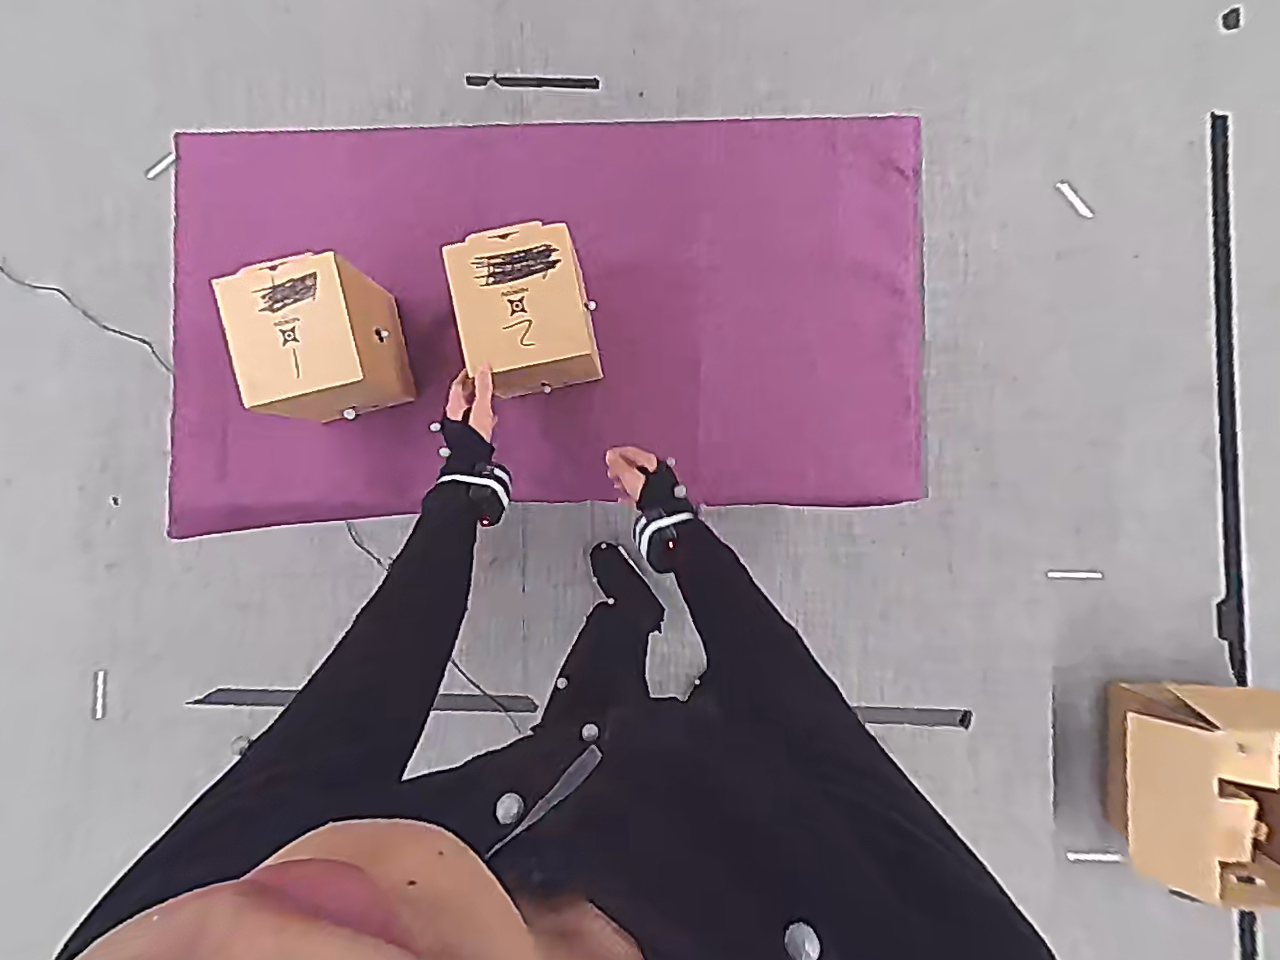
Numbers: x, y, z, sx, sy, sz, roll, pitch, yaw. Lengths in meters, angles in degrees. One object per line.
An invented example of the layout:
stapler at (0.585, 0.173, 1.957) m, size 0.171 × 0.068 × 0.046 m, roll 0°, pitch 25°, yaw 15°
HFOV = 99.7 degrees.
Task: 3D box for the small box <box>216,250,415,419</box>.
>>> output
small box at (-0.453, -0.197, 0.781) m, size 0.168 × 0.176 × 0.179 m, roll -14°, pitch 90°, yaw 2°
